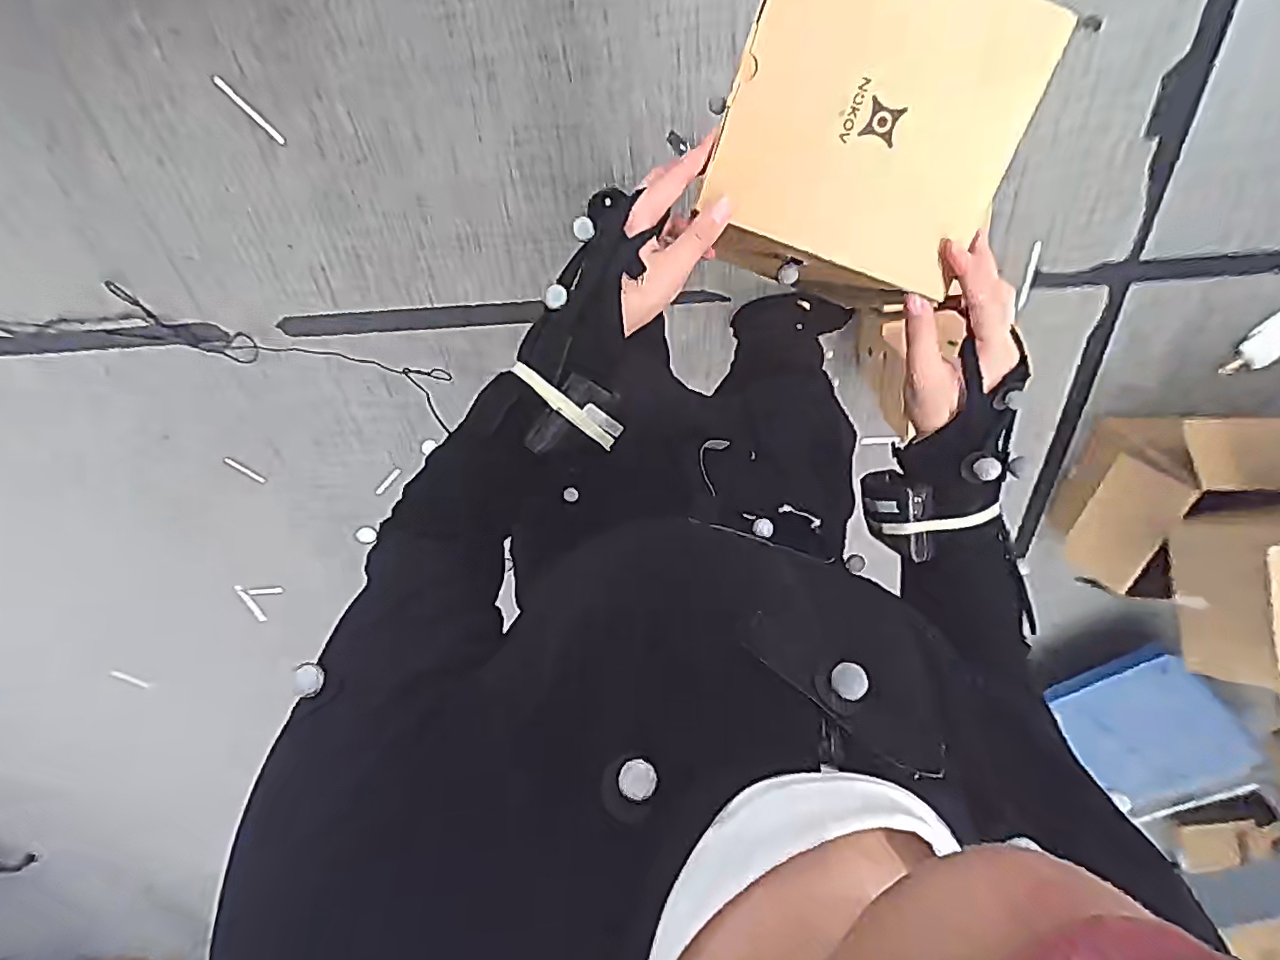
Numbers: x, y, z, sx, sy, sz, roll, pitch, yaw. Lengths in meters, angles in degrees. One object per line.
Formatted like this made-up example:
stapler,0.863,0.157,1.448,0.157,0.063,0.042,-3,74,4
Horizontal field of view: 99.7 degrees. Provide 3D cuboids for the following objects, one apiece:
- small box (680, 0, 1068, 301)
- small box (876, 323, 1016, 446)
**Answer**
small box,0.139,-0.242,0.399,0.179,0.176,0.168,18,106,-4
small box,0.565,-0.185,1.030,0.179,0.176,0.168,-8,124,7
